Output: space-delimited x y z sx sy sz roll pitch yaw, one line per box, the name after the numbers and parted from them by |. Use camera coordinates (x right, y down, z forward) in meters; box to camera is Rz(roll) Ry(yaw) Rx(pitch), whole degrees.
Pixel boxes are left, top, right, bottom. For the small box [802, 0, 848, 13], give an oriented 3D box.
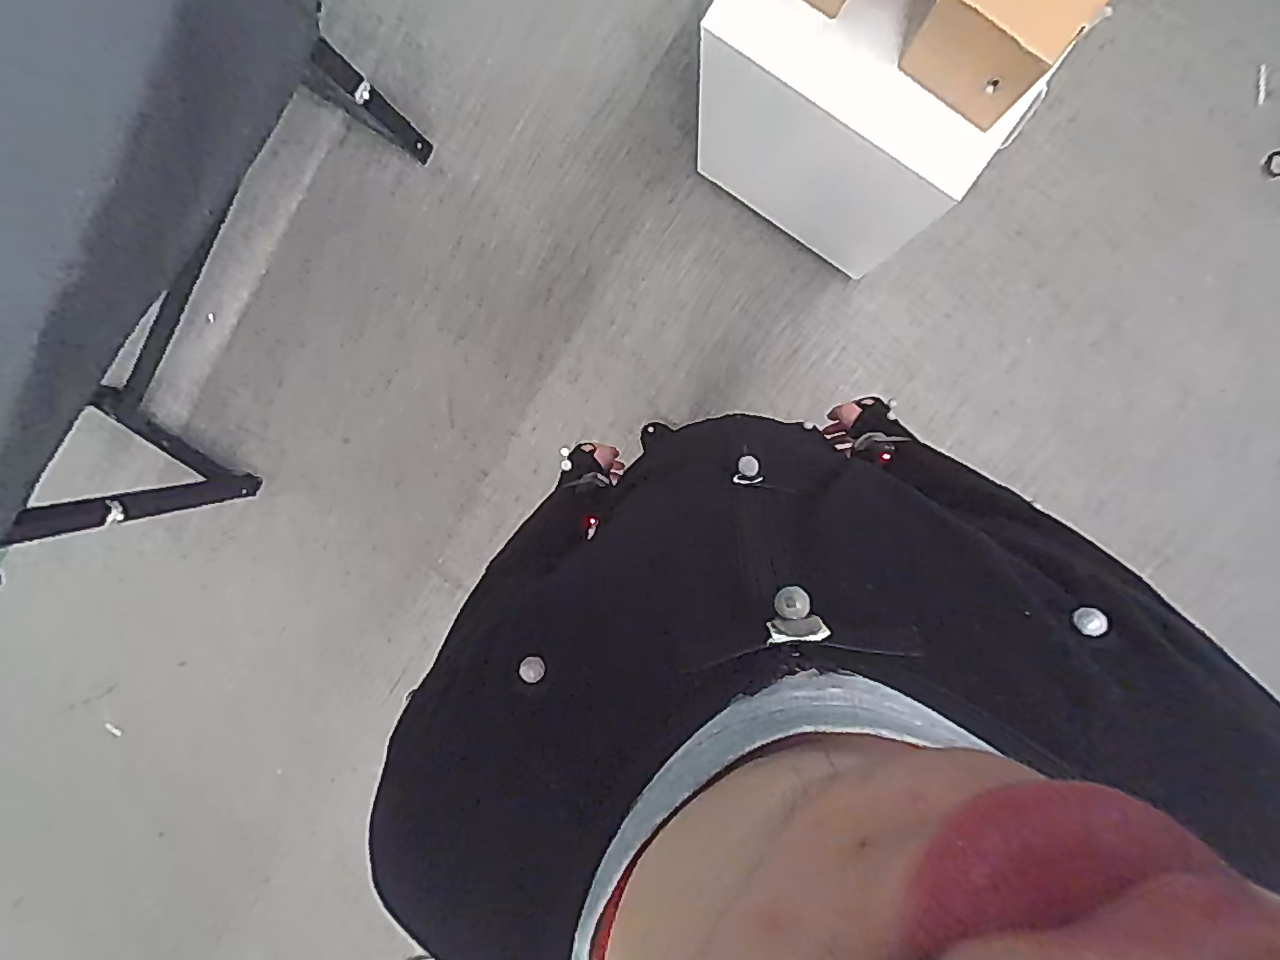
0.268 -0.817 0.751 0.179 0.176 0.168 33 100 -1 | small box

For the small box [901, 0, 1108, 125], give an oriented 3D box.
0.509 -0.641 0.753 0.179 0.176 0.168 36 98 2 | small box
